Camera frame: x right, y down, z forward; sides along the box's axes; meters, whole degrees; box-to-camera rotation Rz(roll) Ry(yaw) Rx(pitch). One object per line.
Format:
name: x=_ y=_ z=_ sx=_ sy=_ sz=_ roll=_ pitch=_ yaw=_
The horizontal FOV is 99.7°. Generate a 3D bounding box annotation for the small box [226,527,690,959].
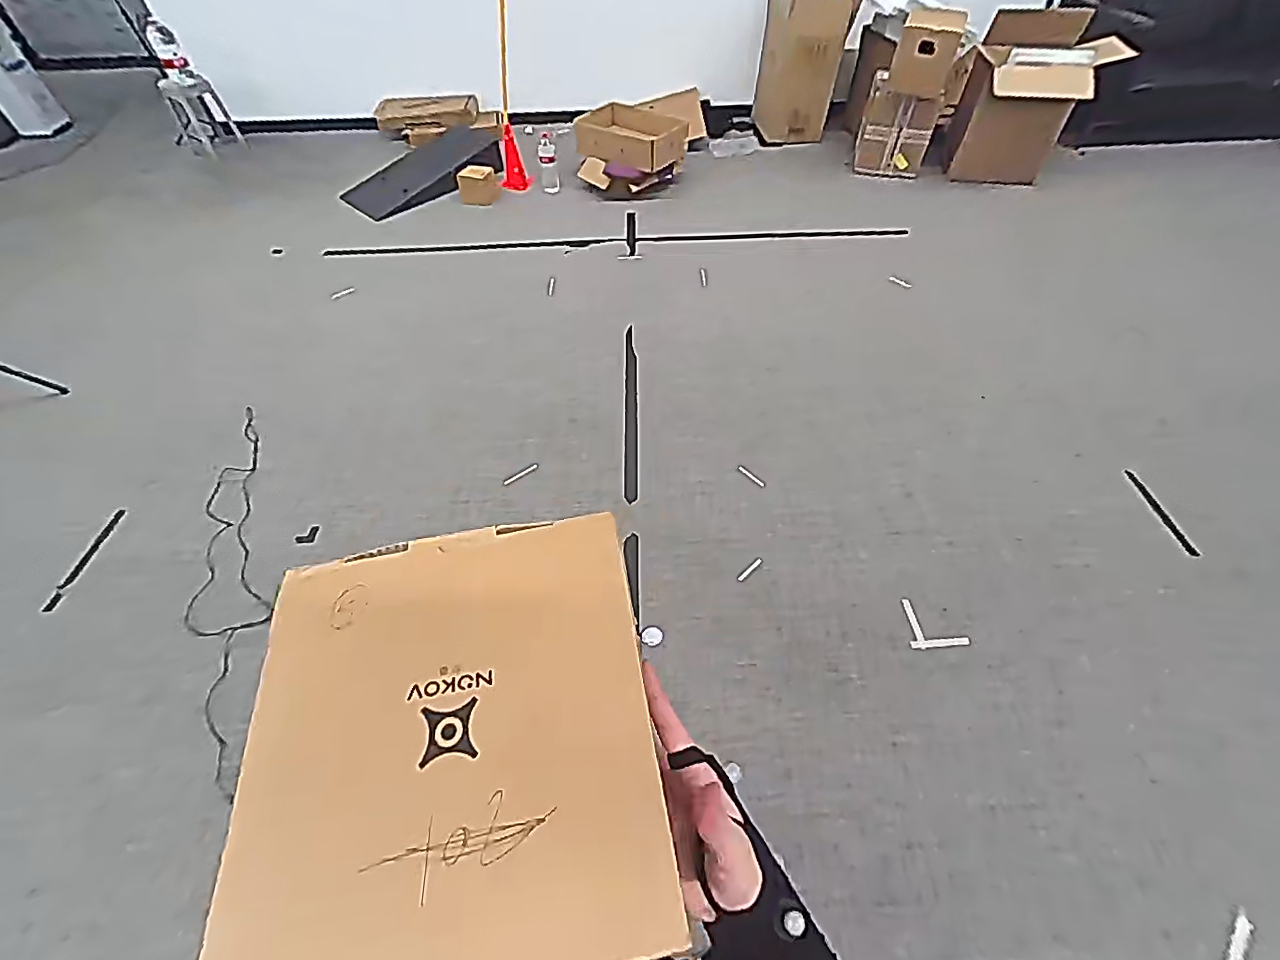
small box: x=-0.074 y=0.151 z=0.299 sx=0.168 sy=0.176 sz=0.179 roll=-10 pitch=56 yaw=-4
